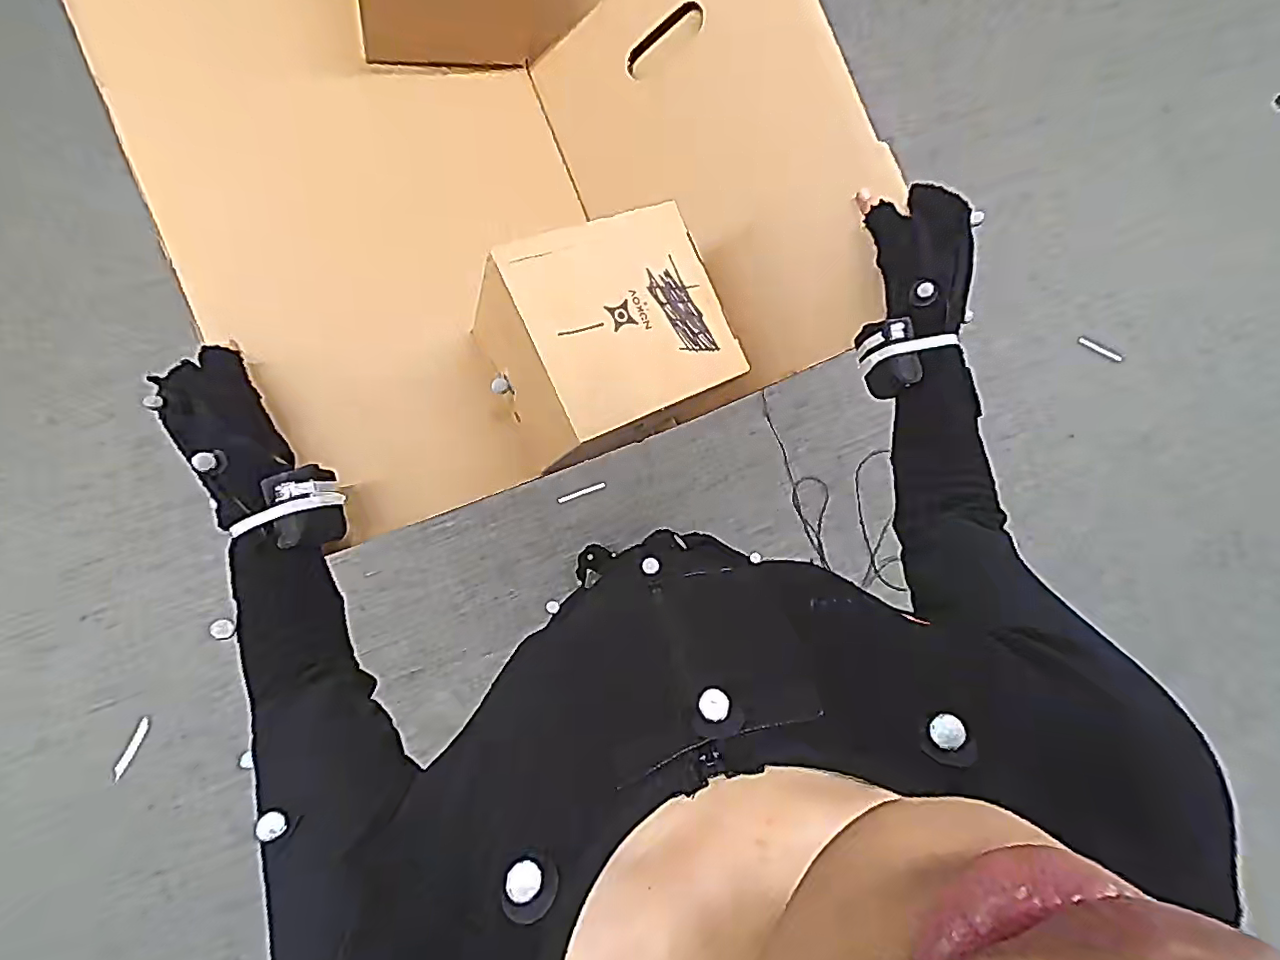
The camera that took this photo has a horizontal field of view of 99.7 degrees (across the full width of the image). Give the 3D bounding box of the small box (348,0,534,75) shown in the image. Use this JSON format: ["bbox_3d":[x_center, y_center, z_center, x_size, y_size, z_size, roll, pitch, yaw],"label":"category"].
[{"bbox_3d":[-0.203,-0.535,0.523,0.179,0.176,0.168,-17,88,-23],"label":"small box"}]
